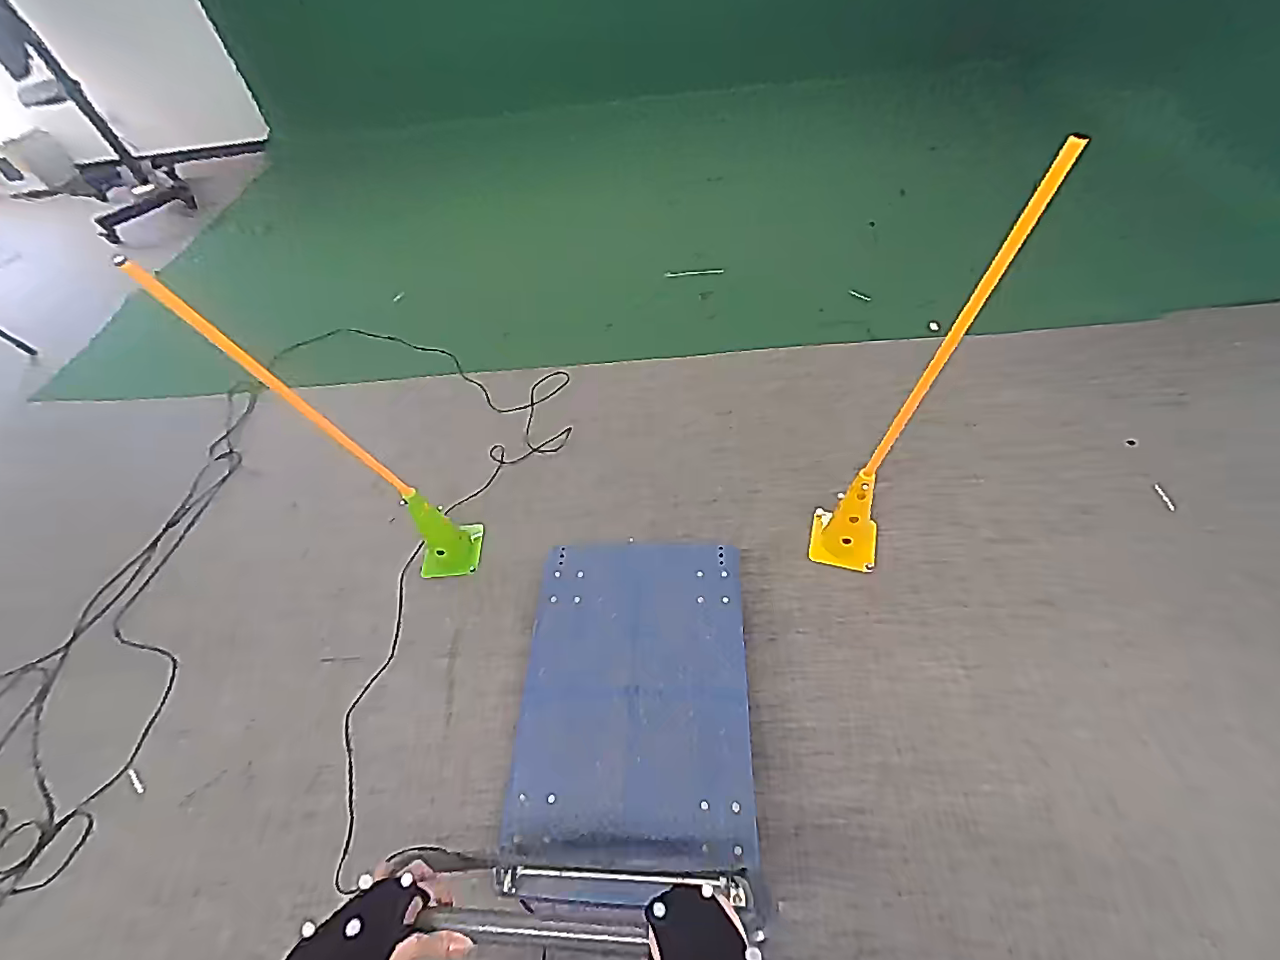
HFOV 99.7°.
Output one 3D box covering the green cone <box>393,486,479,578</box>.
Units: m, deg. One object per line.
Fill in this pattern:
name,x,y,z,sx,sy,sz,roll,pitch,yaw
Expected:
green cone,-0.690,0.139,1.755,0.202,0.368,0.200,-7,52,4
